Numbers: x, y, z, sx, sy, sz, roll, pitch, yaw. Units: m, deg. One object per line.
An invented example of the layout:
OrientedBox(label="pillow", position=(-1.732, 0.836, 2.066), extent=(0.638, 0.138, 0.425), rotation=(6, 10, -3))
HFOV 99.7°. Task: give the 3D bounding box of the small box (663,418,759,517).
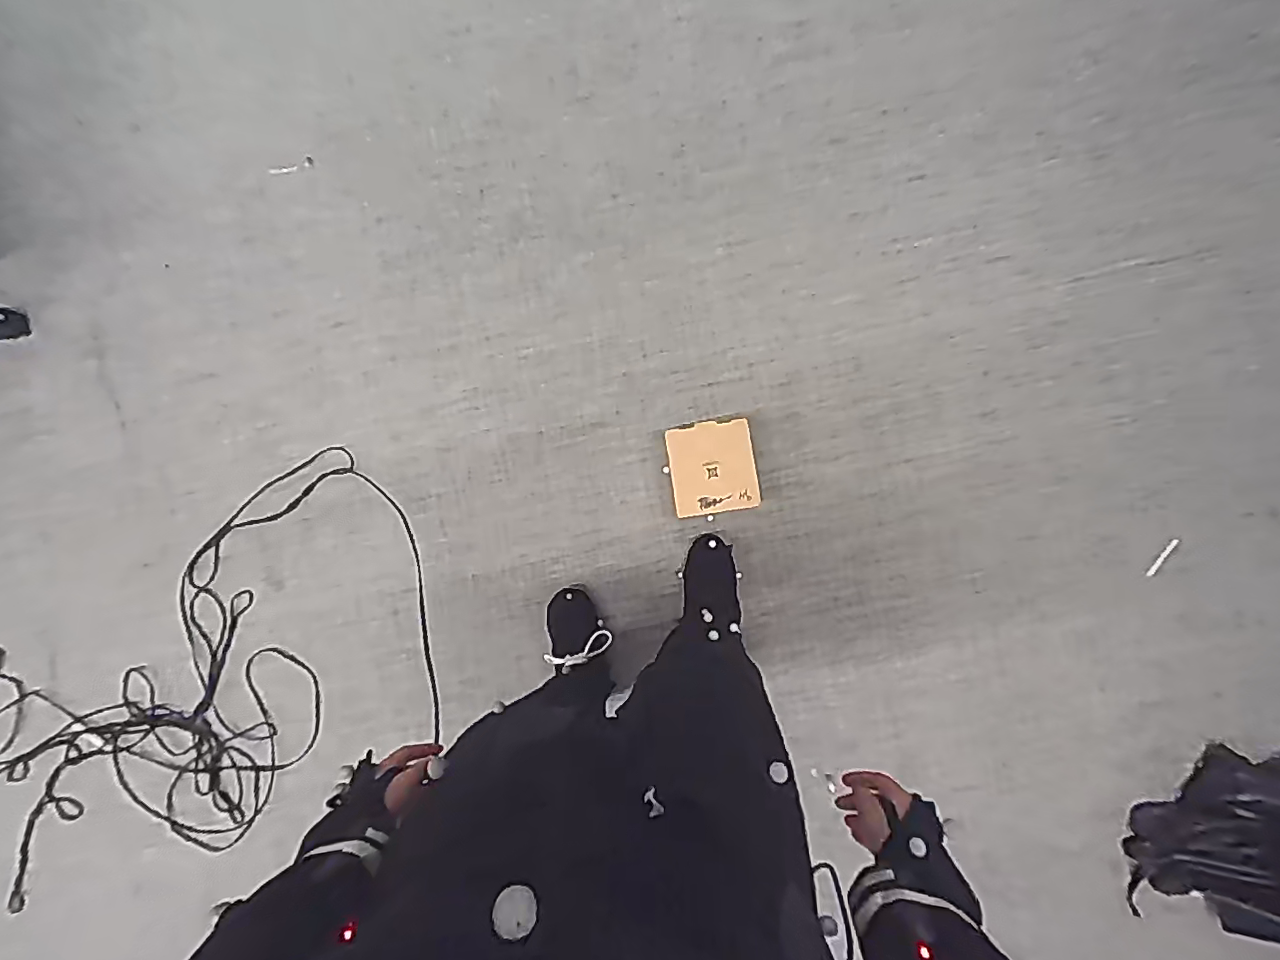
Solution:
OrientedBox(label="small box", position=(0.140, -0.019, 1.125), extent=(0.168, 0.176, 0.179), rotation=(-9, 86, 2))
